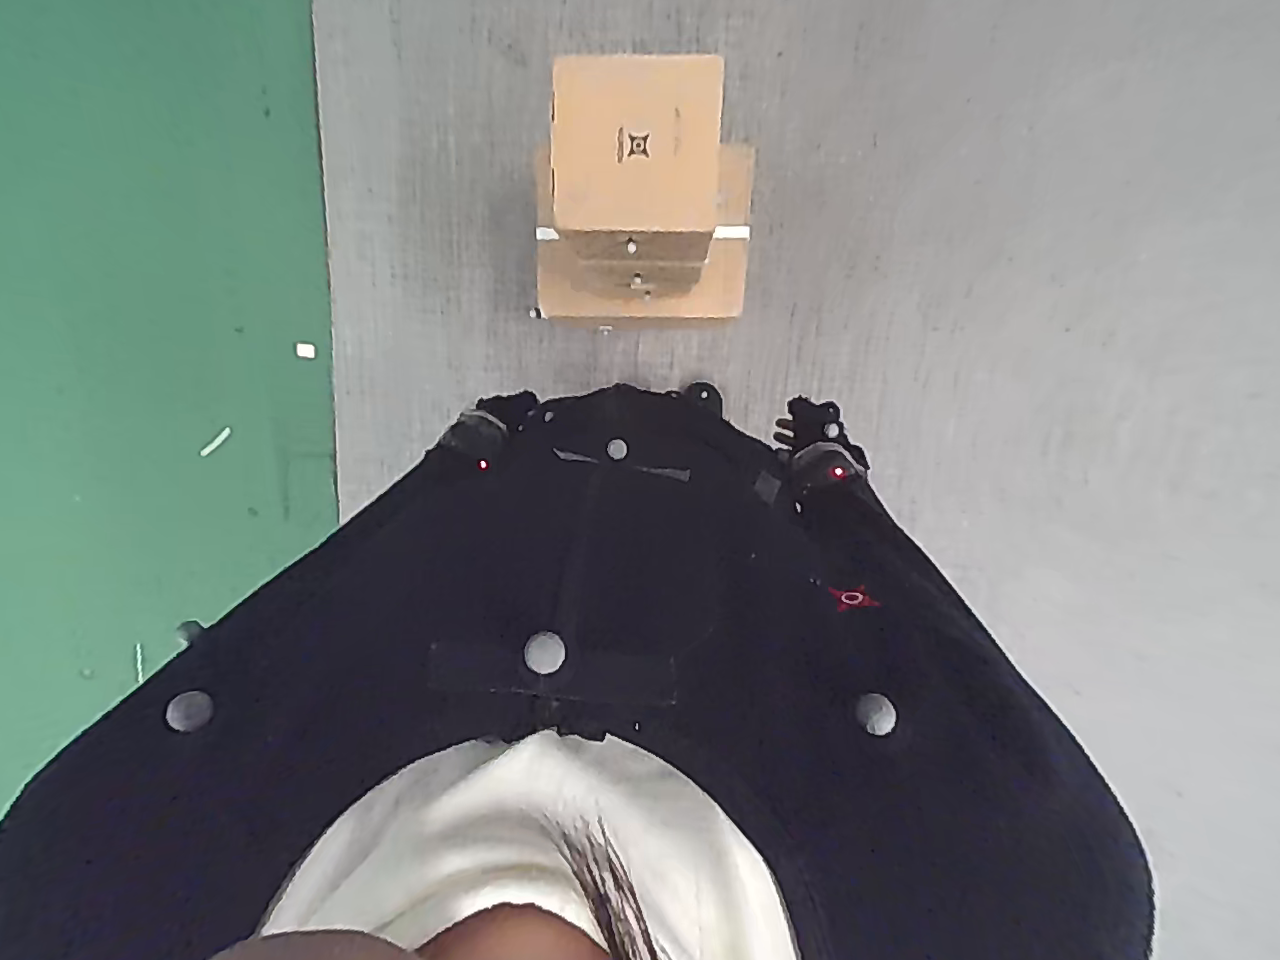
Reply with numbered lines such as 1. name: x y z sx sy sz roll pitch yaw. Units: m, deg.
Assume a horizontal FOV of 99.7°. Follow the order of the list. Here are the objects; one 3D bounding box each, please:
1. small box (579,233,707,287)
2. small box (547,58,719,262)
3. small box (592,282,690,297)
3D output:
1. small box: 0.005 -0.384 0.798 0.179 0.176 0.168 -1 101 3
2. small box: -0.005 -0.359 0.638 0.179 0.176 0.168 2 102 3
3. small box: 0.007 -0.422 0.958 0.168 0.176 0.179 0 102 4
